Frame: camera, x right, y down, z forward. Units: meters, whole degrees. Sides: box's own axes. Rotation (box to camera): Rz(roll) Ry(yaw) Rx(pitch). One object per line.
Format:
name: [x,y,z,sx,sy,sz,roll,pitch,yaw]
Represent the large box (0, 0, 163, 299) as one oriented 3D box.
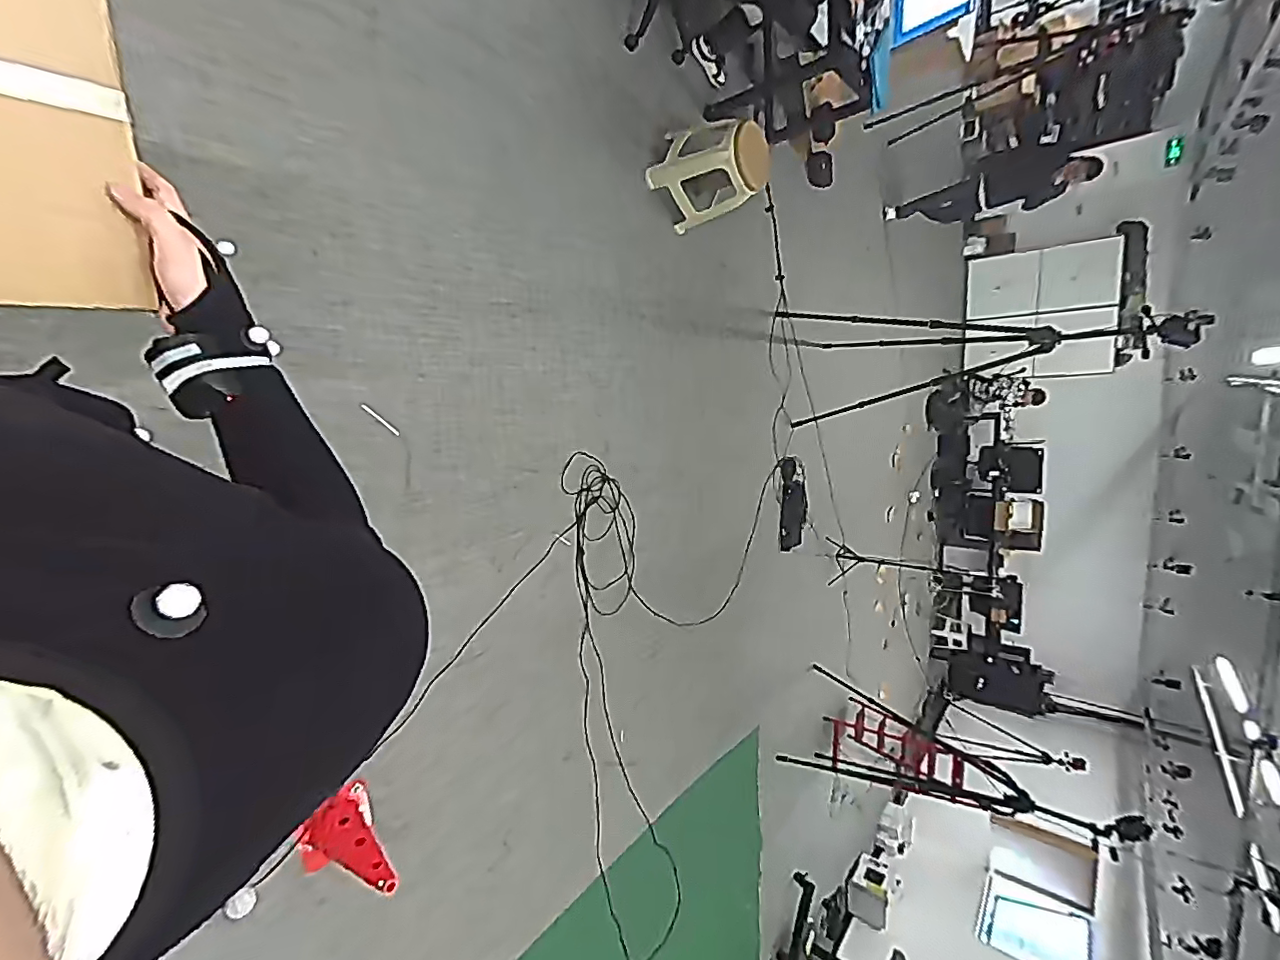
large box: [-0.656,-0.313,0.378,0.408,0.320,0.320,-17,124,-47]
